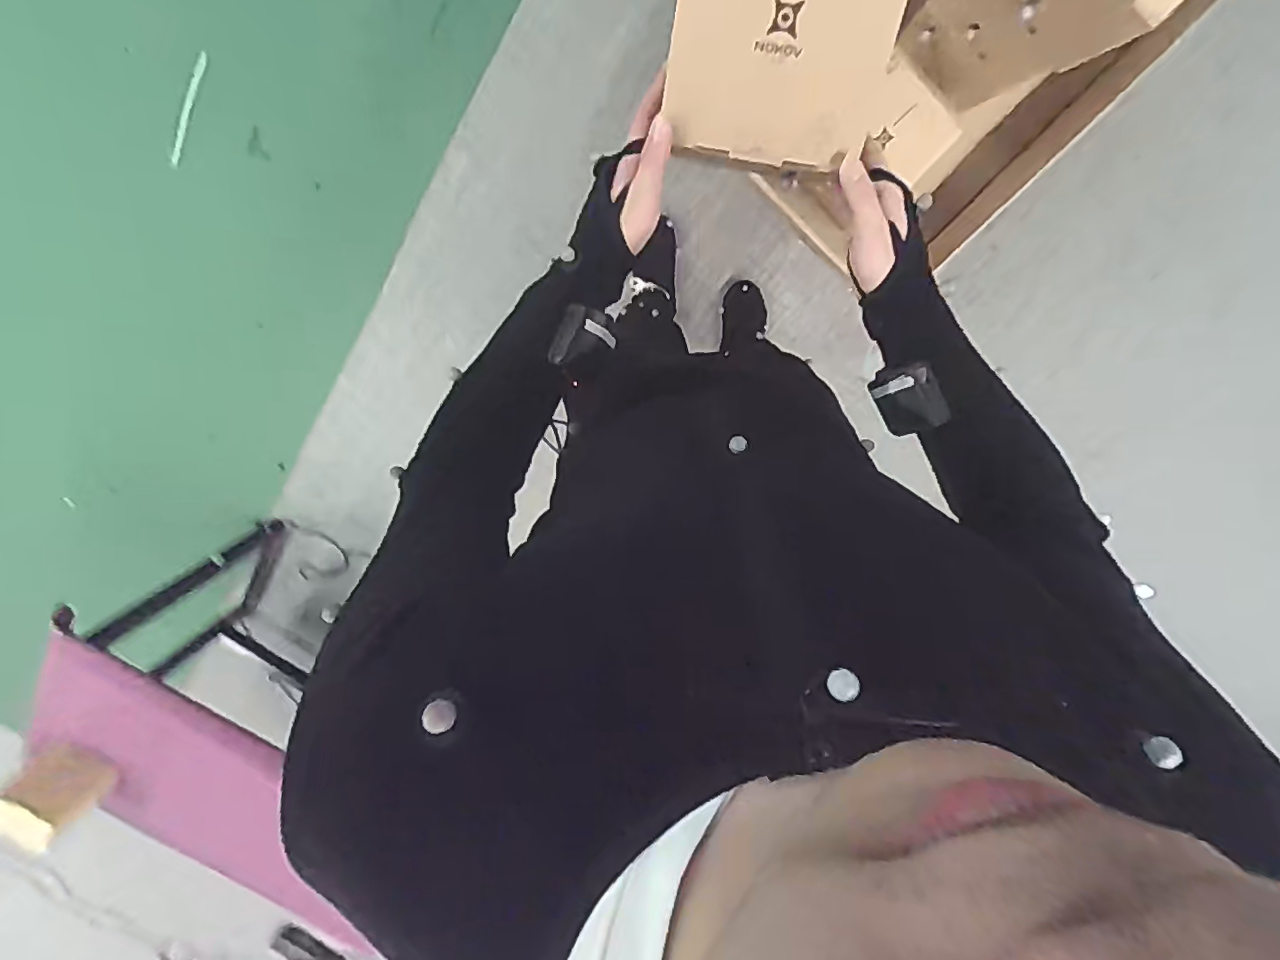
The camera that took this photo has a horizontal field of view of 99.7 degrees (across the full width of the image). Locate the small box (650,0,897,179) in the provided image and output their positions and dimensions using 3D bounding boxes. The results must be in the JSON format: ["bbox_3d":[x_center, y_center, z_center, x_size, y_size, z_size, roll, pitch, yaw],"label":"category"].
[{"bbox_3d":[0.111,-0.370,0.468,0.168,0.176,0.179,11,118,3],"label":"small box"}]

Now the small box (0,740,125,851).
[{"bbox_3d":[-1.566,0.848,1.468,0.168,0.176,0.179,37,113,-7],"label":"small box"}]

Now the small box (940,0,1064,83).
[{"bbox_3d":[0.498,-0.622,0.638,0.168,0.176,0.179,40,116,-9],"label":"small box"}]

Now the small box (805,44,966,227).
[{"bbox_3d":[0.371,-0.534,0.873,0.168,0.176,0.179,41,112,-9],"label":"small box"}]

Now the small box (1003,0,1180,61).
[{"bbox_3d":[0.461,-0.543,0.497,0.168,0.176,0.179,39,117,-8],"label":"small box"}]
